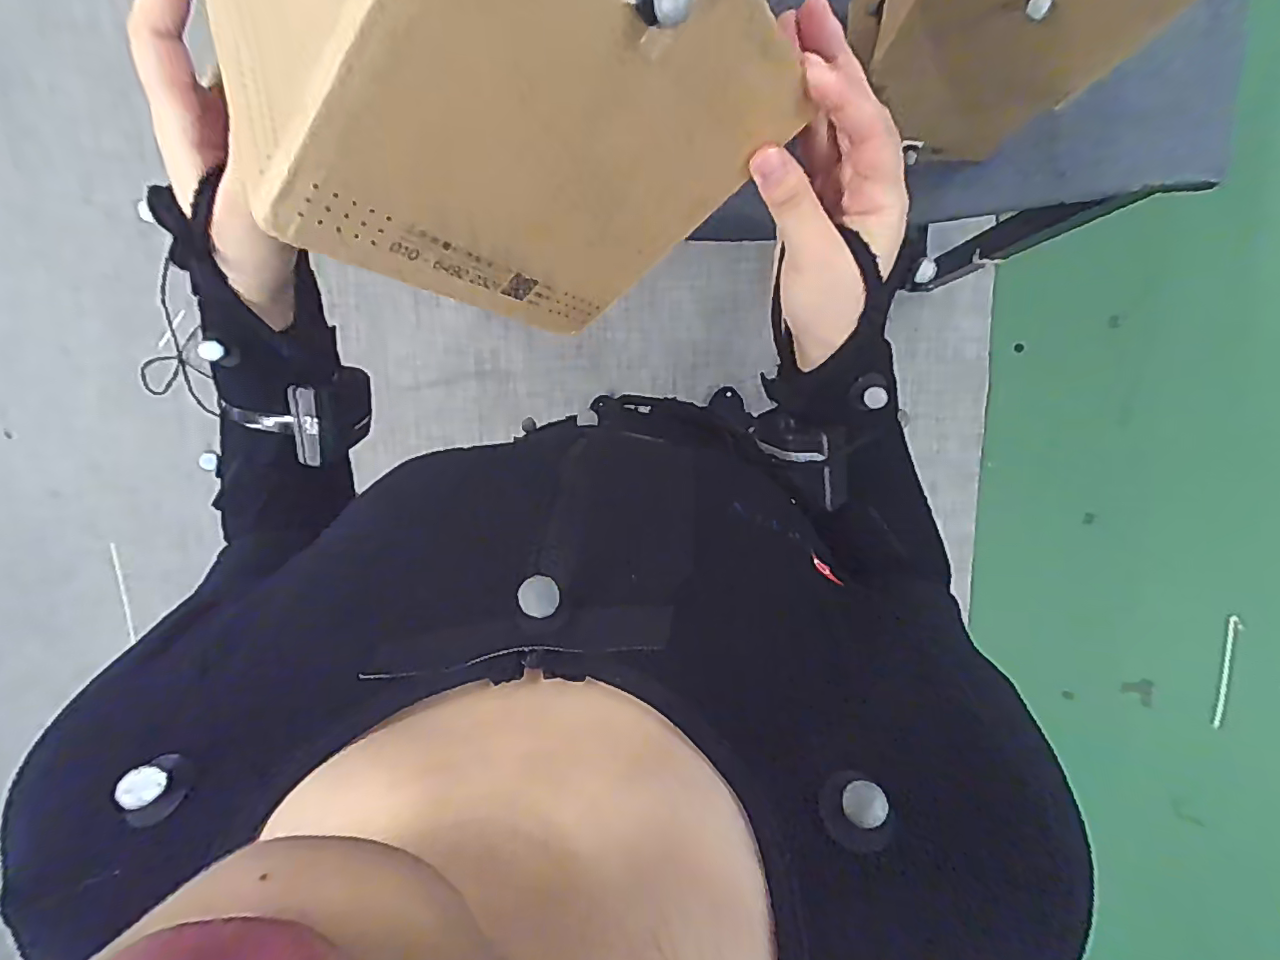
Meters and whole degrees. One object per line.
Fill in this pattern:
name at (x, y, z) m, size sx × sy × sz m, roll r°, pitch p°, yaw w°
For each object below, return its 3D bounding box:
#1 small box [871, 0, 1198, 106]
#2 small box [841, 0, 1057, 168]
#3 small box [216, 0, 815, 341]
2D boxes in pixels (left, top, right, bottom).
small box at (0.304, -0.419, 0.407) m, size 0.179 × 0.176 × 0.168 m, roll 12°, pitch 99°, yaw 4°
small box at (0.318, -0.456, 0.565) m, size 0.168 × 0.176 × 0.179 m, roll 1°, pitch 99°, yaw 6°
small box at (-0.061, -0.196, 0.240) m, size 0.176 × 0.168 × 0.179 m, roll -35°, pitch 69°, yaw 31°
